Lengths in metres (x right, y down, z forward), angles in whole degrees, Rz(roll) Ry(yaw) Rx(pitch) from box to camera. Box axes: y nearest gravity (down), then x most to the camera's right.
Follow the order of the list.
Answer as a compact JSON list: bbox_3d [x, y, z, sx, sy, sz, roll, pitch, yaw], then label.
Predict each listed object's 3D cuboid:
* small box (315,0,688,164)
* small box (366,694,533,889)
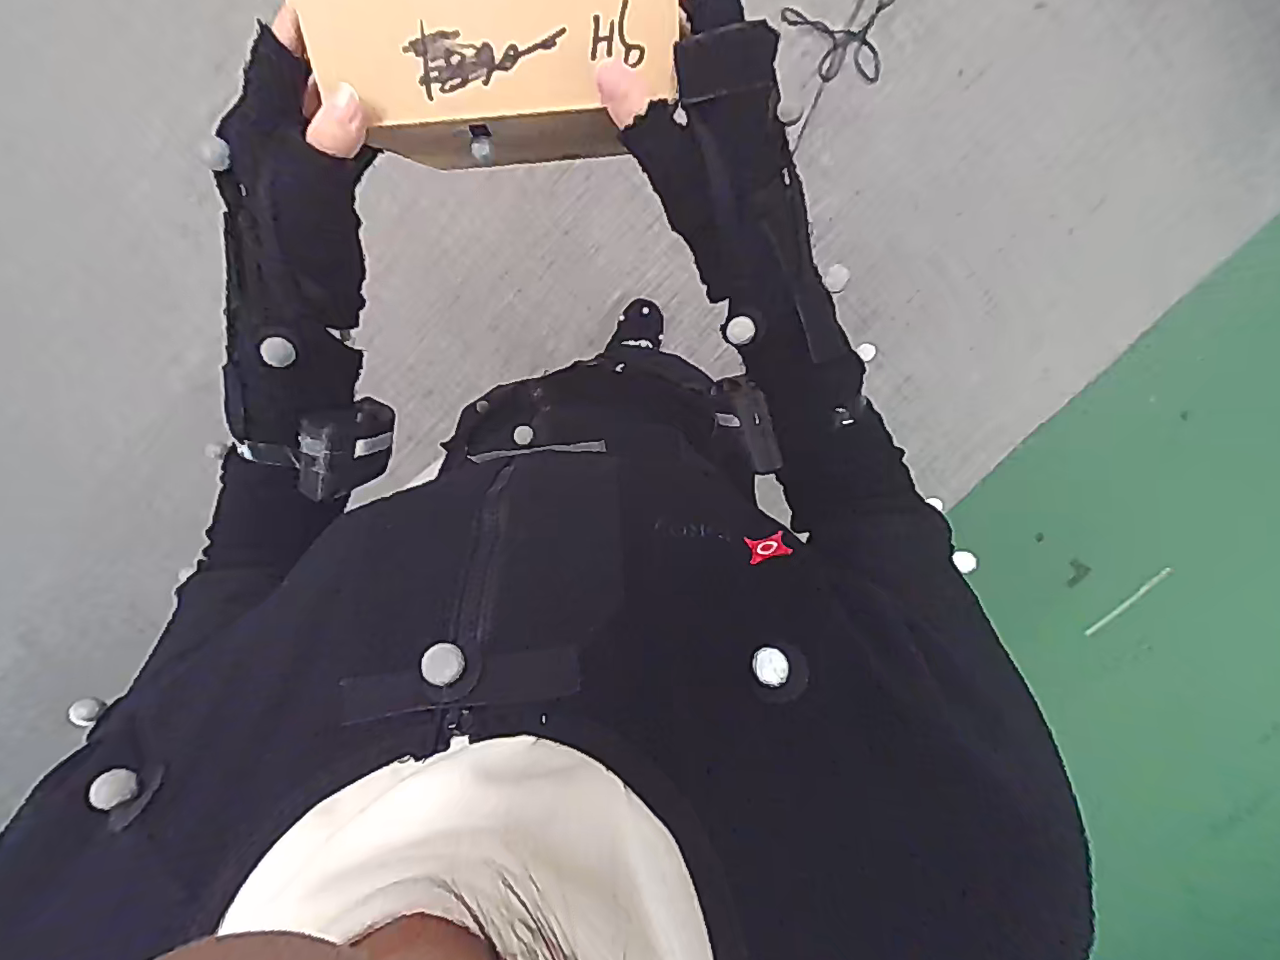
[{"bbox_3d":[-0.067,-0.288,0.294,0.168,0.176,0.179,-4,113,-1],"label":"small box"},{"bbox_3d":[-0.288,0.486,0.866,0.168,0.176,0.179,44,99,-12],"label":"small box"}]
